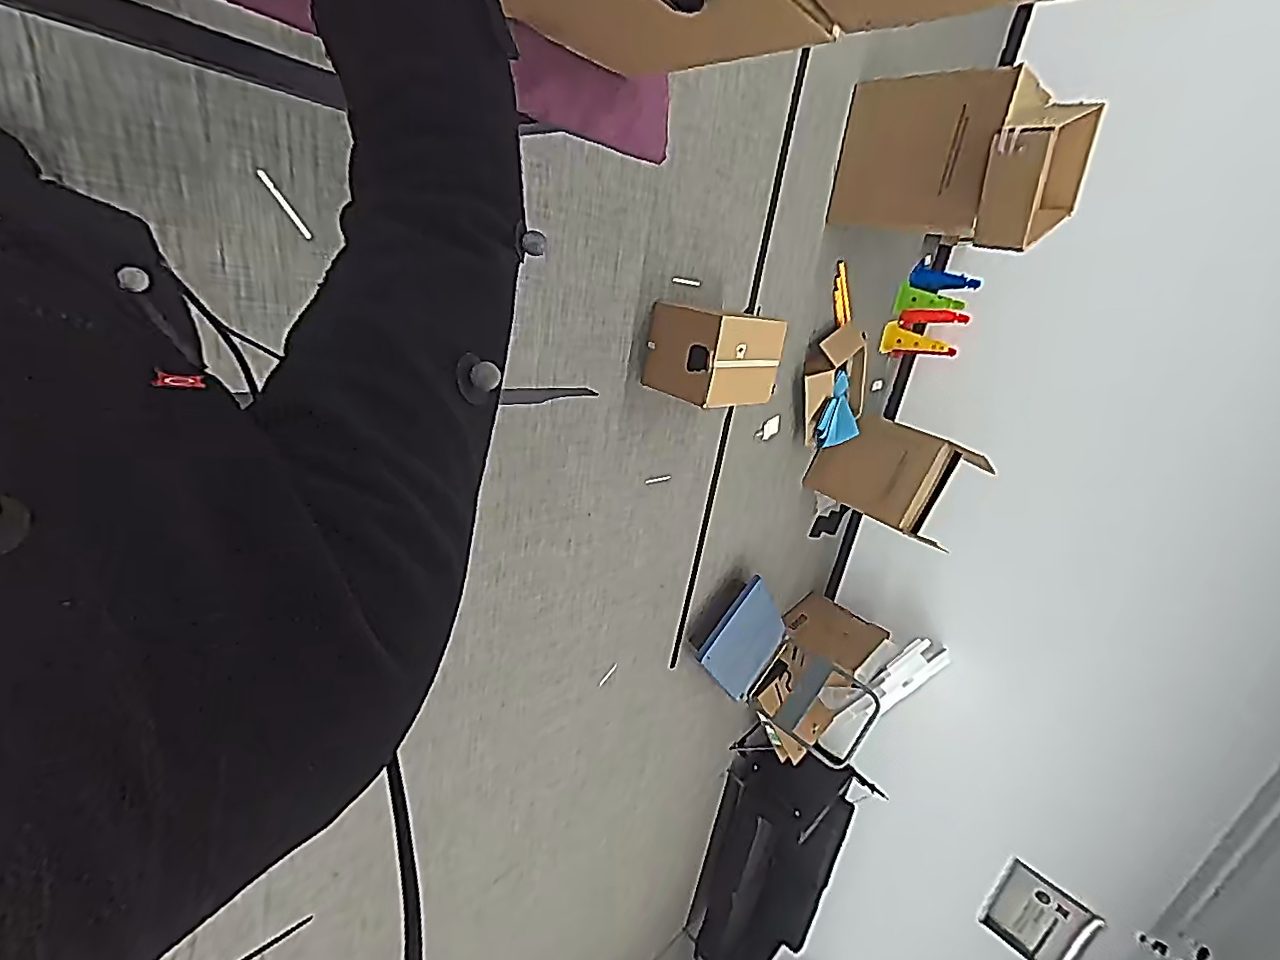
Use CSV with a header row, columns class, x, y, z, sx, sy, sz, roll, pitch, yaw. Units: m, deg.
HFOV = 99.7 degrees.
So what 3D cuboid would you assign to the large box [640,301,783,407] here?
class,x,y,z,sx,sy,sz,roll,pitch,yaw
large box,0.262,-0.474,2.005,0.408,0.320,0.320,-12,120,-43
